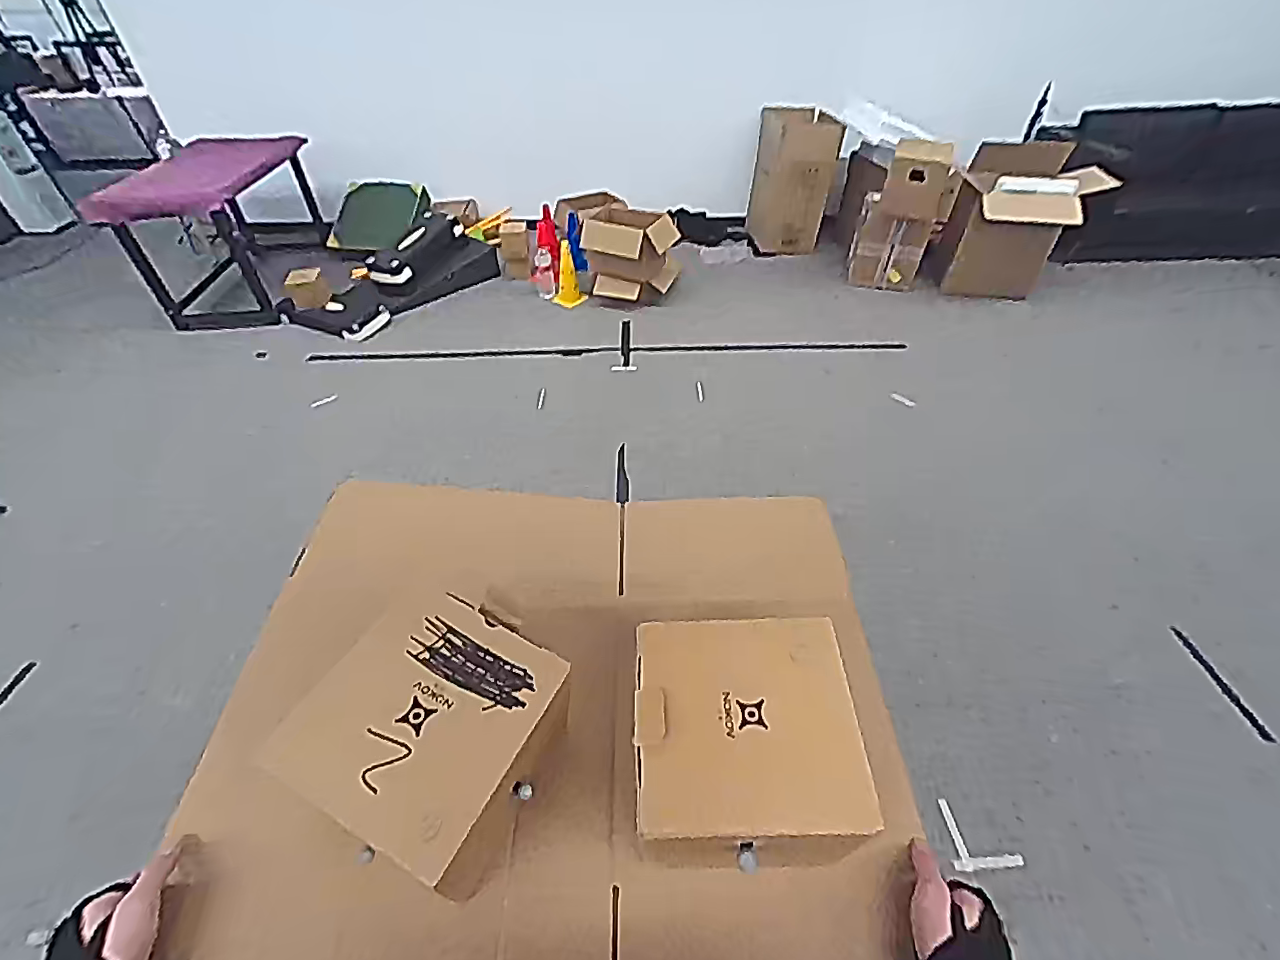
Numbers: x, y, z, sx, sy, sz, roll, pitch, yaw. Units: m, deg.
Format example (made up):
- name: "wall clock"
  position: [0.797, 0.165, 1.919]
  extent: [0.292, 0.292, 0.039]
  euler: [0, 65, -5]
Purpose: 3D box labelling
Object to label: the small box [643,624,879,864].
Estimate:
- name: "small box"
  position: [0.093, 0.249, 0.508]
  extent: [0.179, 0.176, 0.168]
  euler: [-3, 48, 3]
